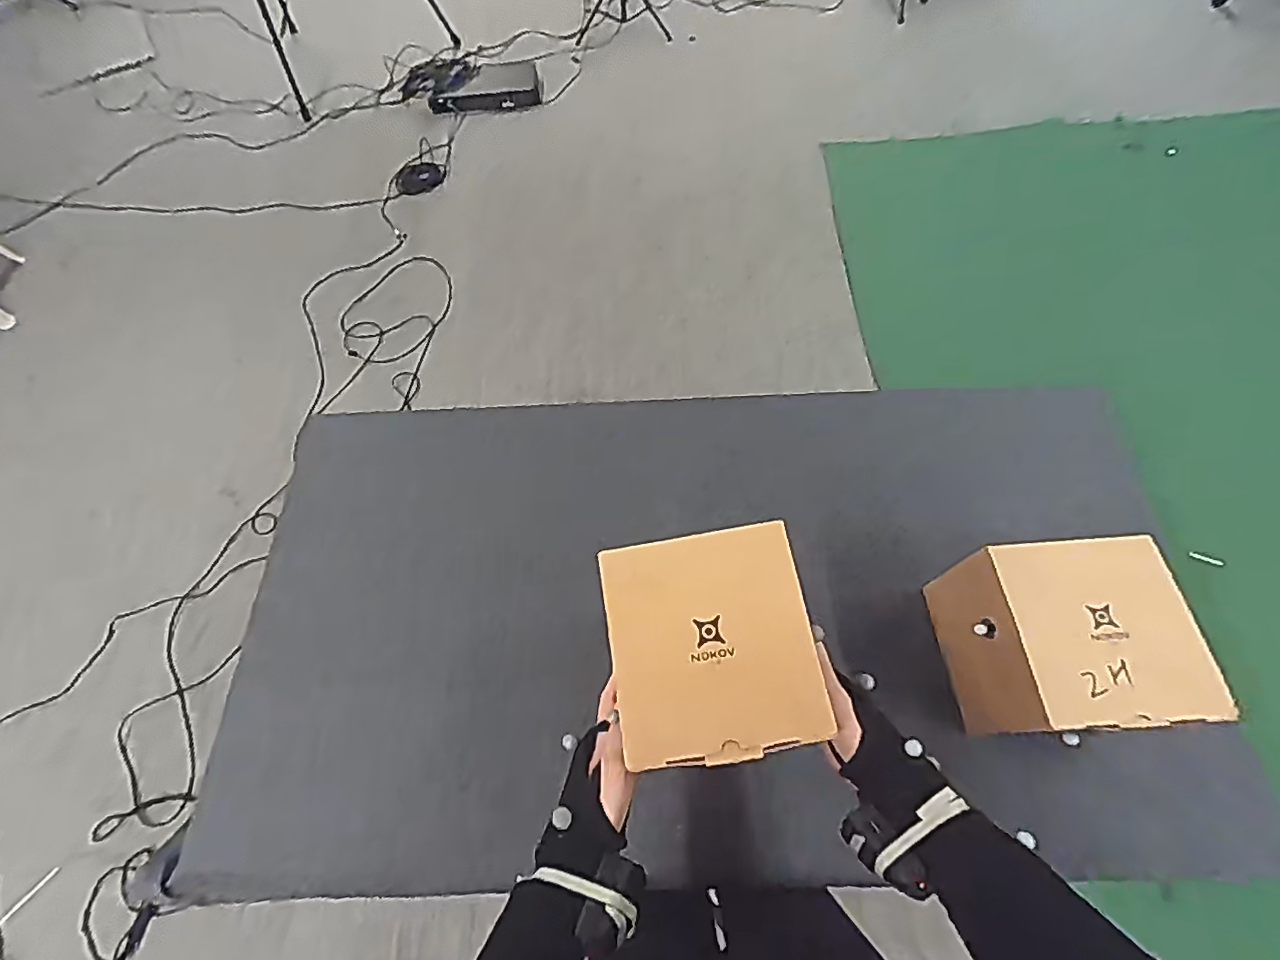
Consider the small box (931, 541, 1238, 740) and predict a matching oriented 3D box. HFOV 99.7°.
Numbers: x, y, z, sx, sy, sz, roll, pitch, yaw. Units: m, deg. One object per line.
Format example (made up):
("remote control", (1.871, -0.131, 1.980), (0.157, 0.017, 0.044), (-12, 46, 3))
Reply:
("small box", (0.446, 0.180, 0.586), (0.168, 0.176, 0.179), (-5, 64, 3))
